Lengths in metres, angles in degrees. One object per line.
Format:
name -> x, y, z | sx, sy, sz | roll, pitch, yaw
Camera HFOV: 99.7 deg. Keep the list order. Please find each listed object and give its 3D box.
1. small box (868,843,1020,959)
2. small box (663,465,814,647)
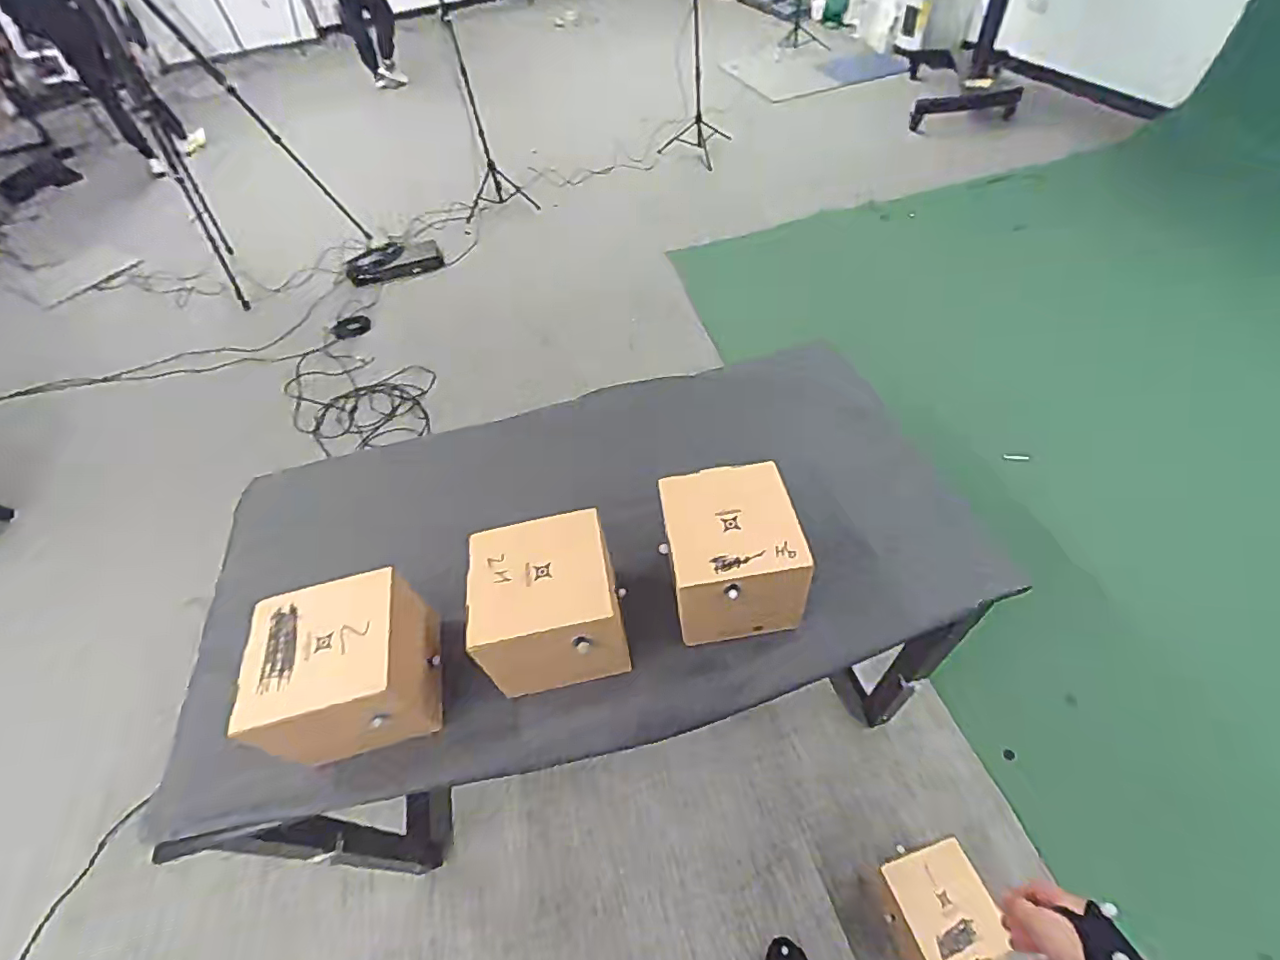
small box -> 0.571, 0.833, 1.044 | 0.168, 0.176, 0.179 | -17, 50, -6
small box -> 0.125, 0.107, 0.750 | 0.168, 0.176, 0.179 | -9, 48, 1
